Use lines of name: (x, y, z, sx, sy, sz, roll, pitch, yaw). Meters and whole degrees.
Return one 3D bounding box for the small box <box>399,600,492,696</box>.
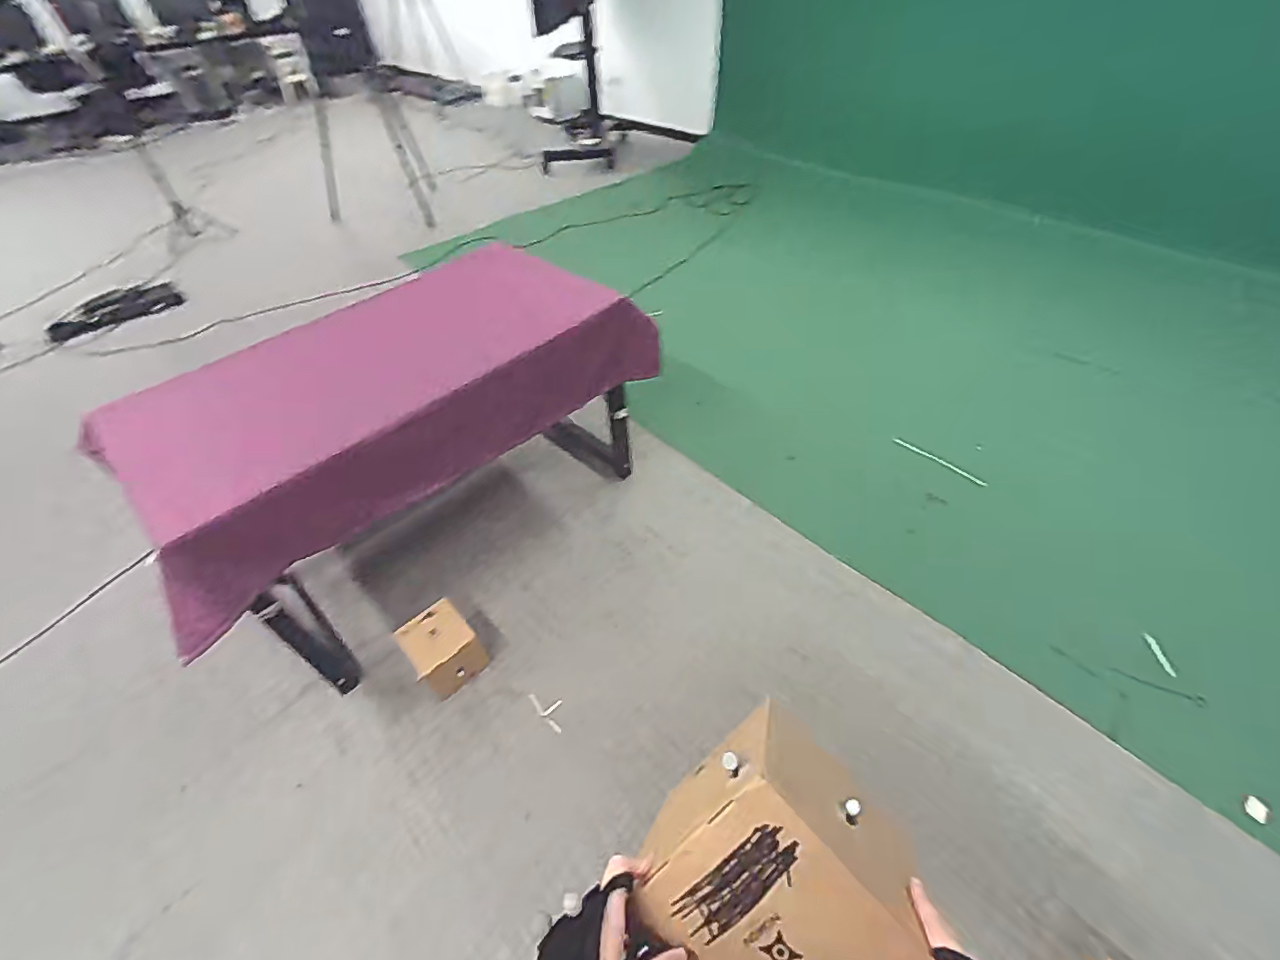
small box: (-0.546, 0.485, 1.537, 0.168, 0.176, 0.179, -35, 54, -26)
